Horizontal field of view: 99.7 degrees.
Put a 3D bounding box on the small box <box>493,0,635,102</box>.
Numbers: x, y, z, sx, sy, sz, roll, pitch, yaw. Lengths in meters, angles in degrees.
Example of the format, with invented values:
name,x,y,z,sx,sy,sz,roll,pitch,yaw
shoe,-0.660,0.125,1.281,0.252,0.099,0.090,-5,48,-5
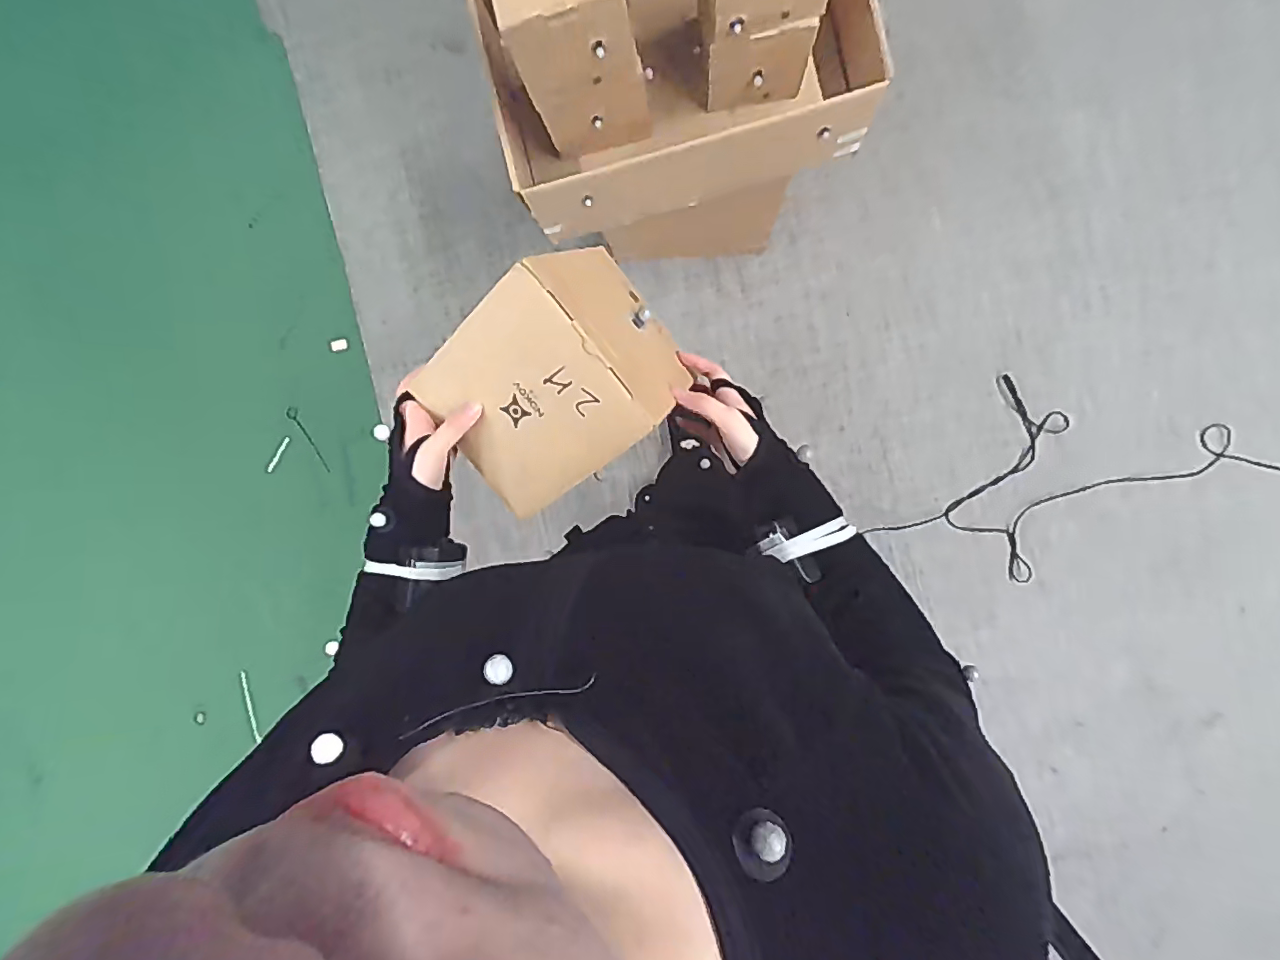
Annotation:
name,x,y,z,sx,sy,sz,roll,pitch,yaw
small box,-0.108,-0.672,0.756,0.168,0.176,0.179,-12,91,6

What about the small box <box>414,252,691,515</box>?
name,x,y,z,sx,sy,sz,roll,pitch,yaw
small box,-0.073,-0.100,0.535,0.179,0.176,0.168,-34,101,29

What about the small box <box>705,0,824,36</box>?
name,x,y,z,sx,sy,sz,roll,pitch,yaw
small box,0.167,-0.748,0.726,0.168,0.176,0.179,-10,91,6
